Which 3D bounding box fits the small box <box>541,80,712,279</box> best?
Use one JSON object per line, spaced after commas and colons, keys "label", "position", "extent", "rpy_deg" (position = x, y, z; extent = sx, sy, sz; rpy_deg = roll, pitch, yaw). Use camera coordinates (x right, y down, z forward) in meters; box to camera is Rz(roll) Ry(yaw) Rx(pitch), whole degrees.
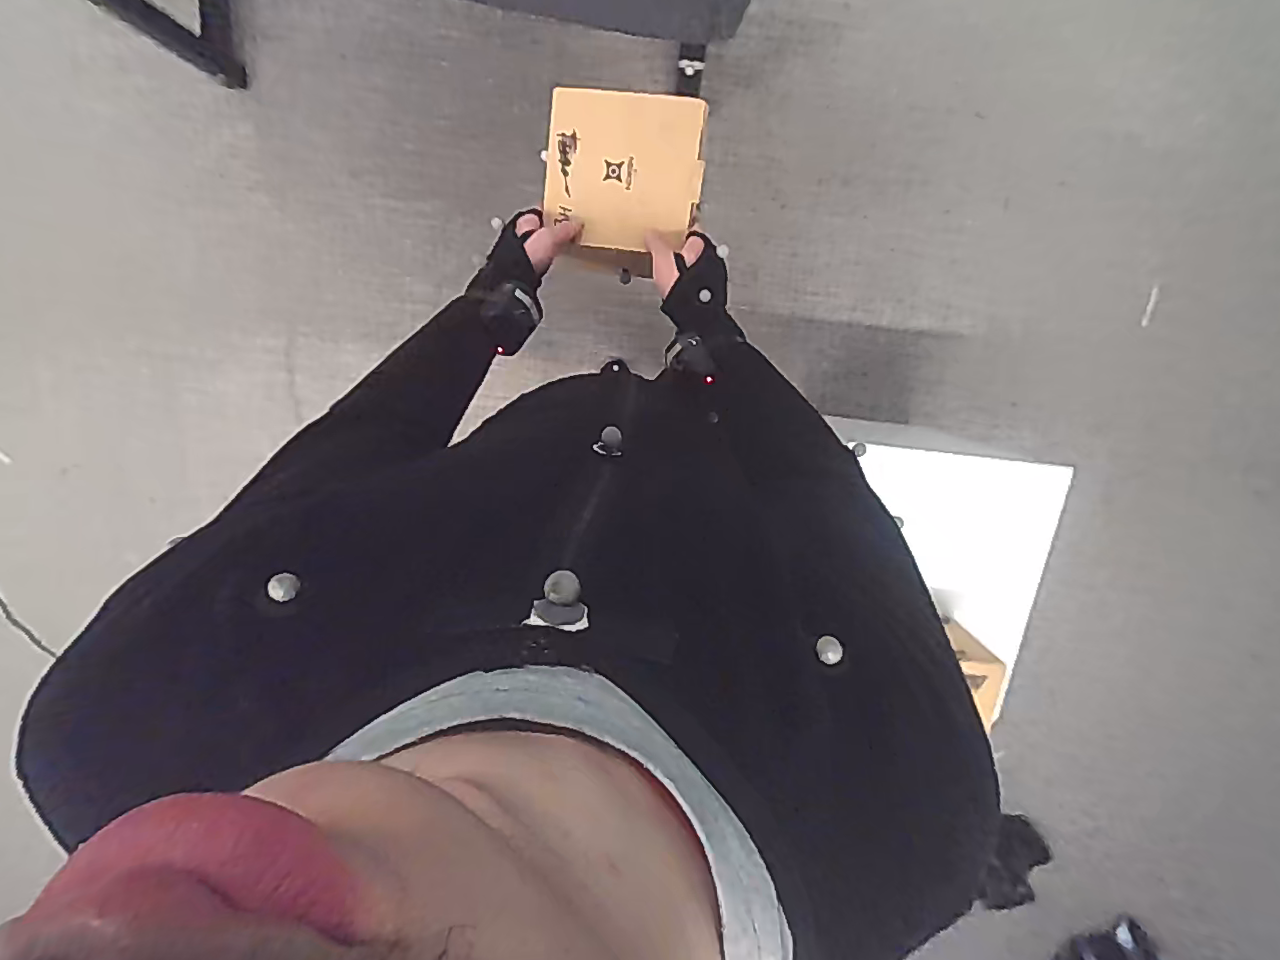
{"label": "small box", "position": [-0.015, -0.355, 0.673], "extent": [0.179, 0.176, 0.168], "rpy_deg": [6, 100, 1]}
